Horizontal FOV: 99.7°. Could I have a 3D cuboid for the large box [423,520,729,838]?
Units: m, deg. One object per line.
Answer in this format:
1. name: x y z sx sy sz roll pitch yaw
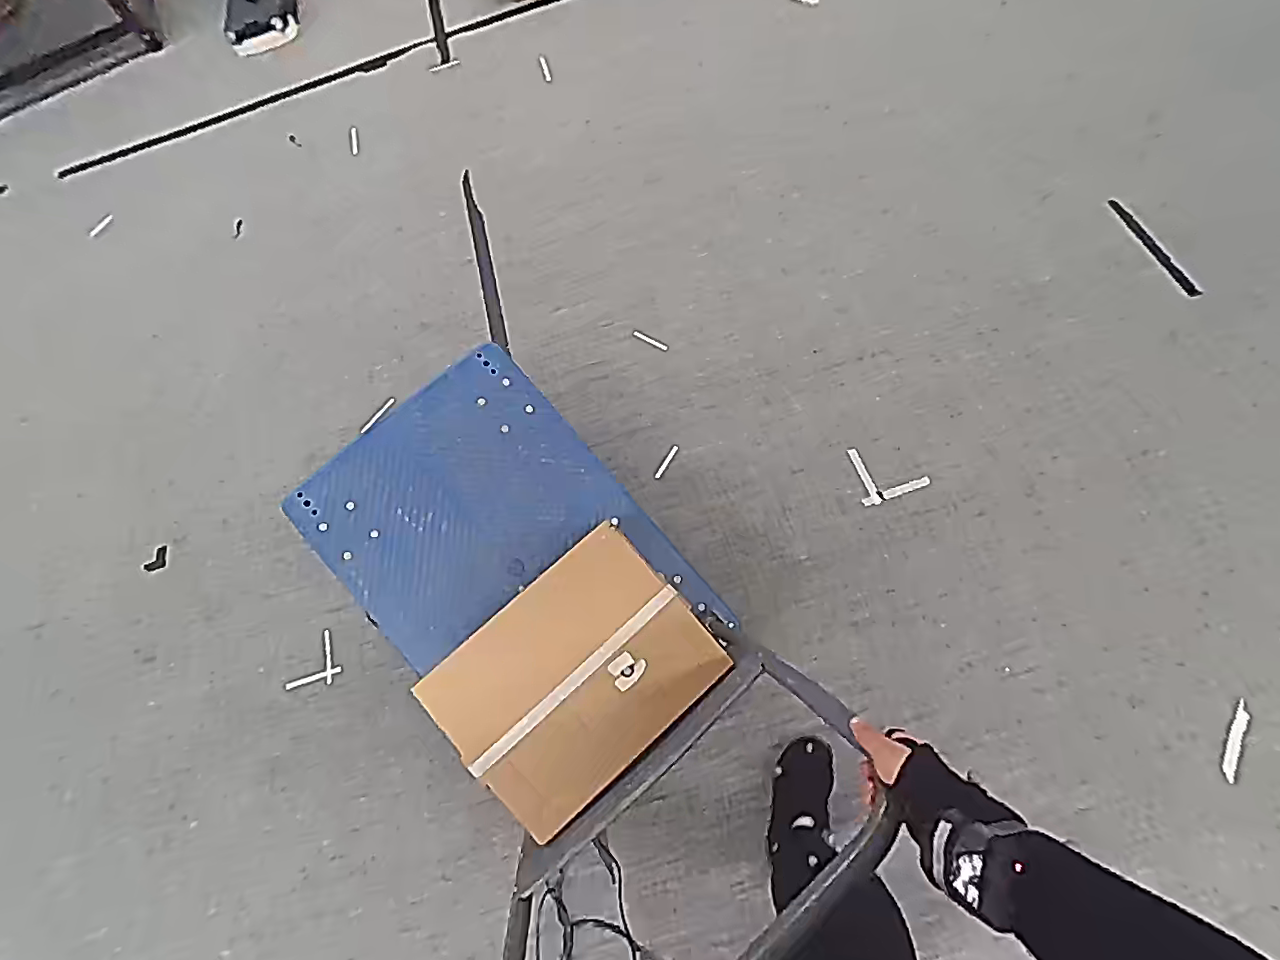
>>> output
1. large box: -0.109 0.330 1.008 0.408 0.320 0.320 -41 87 -9
